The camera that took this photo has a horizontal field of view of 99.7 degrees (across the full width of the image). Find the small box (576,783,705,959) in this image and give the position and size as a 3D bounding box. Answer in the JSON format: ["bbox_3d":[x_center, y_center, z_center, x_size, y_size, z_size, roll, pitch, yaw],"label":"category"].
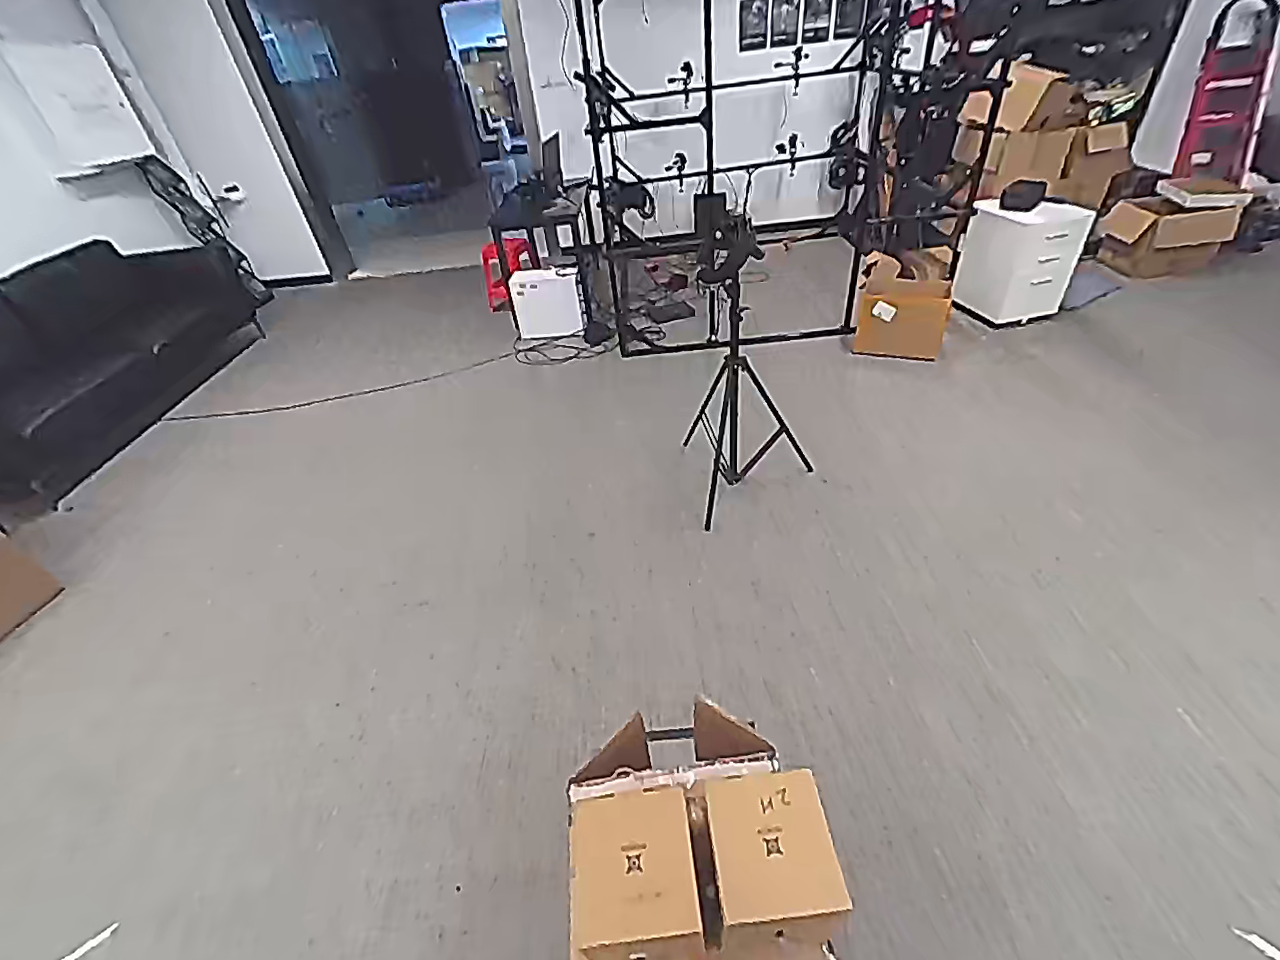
[{"bbox_3d":[0.000,0.585,0.805,0.168,0.176,0.179,-9,43,0],"label":"small box"}]

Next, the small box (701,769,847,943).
[{"bbox_3d":[0.187,0.561,0.805,0.168,0.176,0.179,-6,40,-1],"label":"small box"}]
